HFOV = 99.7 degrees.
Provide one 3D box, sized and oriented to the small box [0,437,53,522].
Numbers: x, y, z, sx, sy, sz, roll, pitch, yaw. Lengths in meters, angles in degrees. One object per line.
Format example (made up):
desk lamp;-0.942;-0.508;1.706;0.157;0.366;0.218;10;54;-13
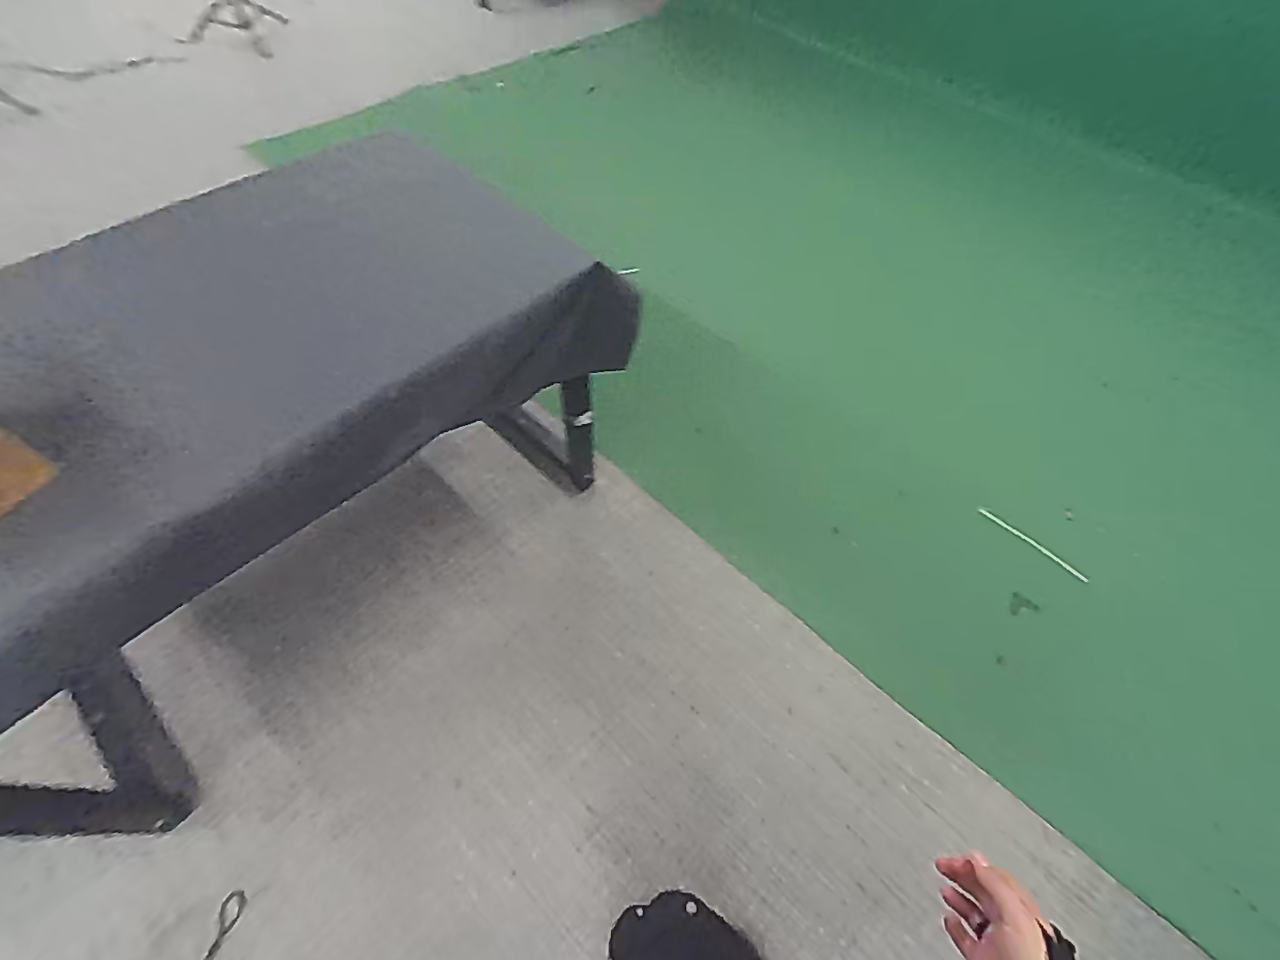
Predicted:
small box;-0.821;-0.023;0.575;0.179;0.176;0.168;25;58;12
